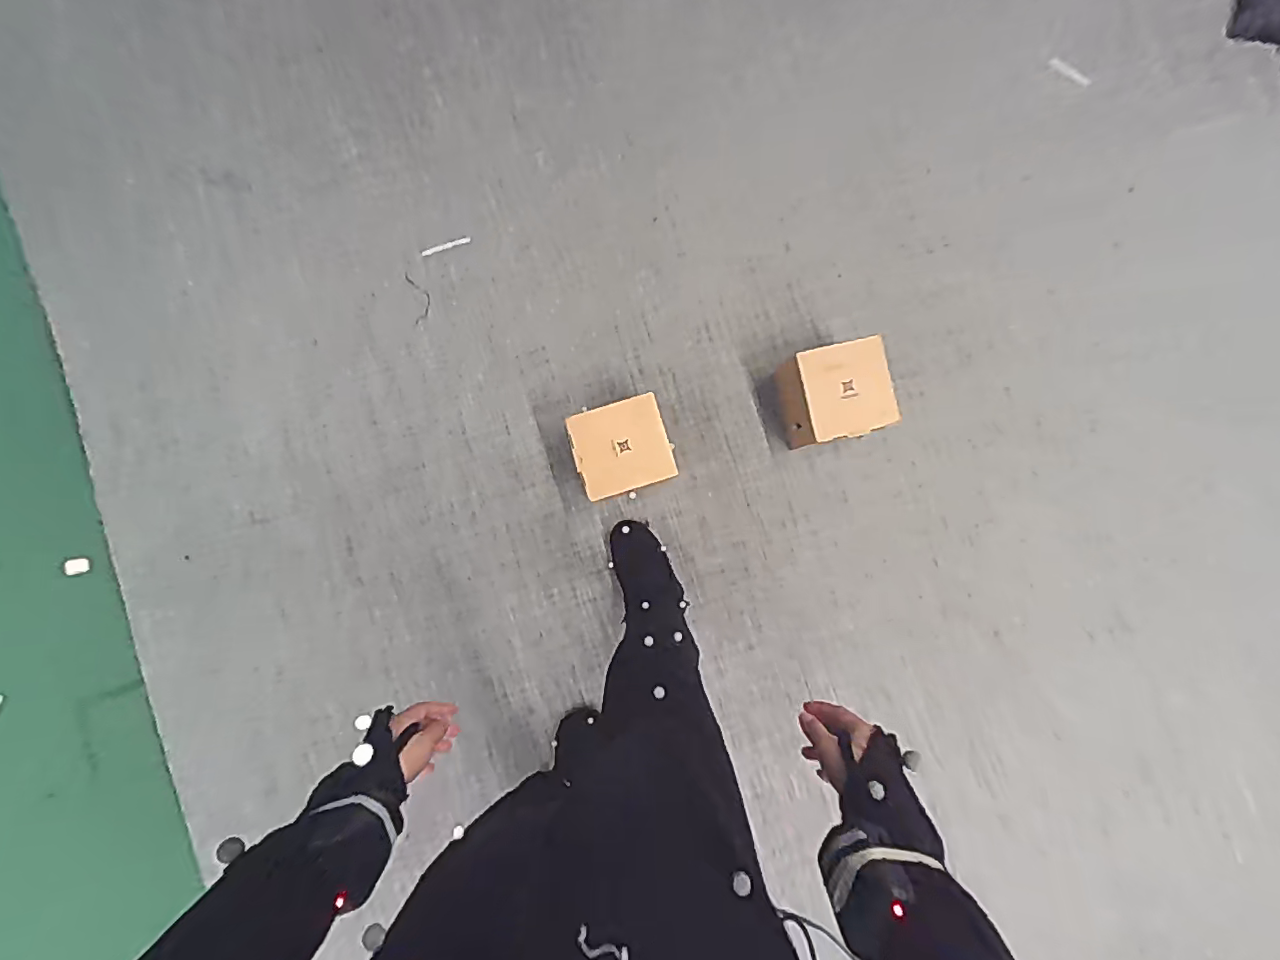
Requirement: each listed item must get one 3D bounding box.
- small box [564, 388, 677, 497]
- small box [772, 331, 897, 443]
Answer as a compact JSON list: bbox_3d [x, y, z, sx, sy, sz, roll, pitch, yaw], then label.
[{"bbox_3d":[-0.038,-0.071,1.074,0.179,0.176,0.168,-17,89,-1],"label":"small box"},{"bbox_3d":[0.380,-0.175,1.081,0.168,0.176,0.179,-13,88,-2],"label":"small box"}]
